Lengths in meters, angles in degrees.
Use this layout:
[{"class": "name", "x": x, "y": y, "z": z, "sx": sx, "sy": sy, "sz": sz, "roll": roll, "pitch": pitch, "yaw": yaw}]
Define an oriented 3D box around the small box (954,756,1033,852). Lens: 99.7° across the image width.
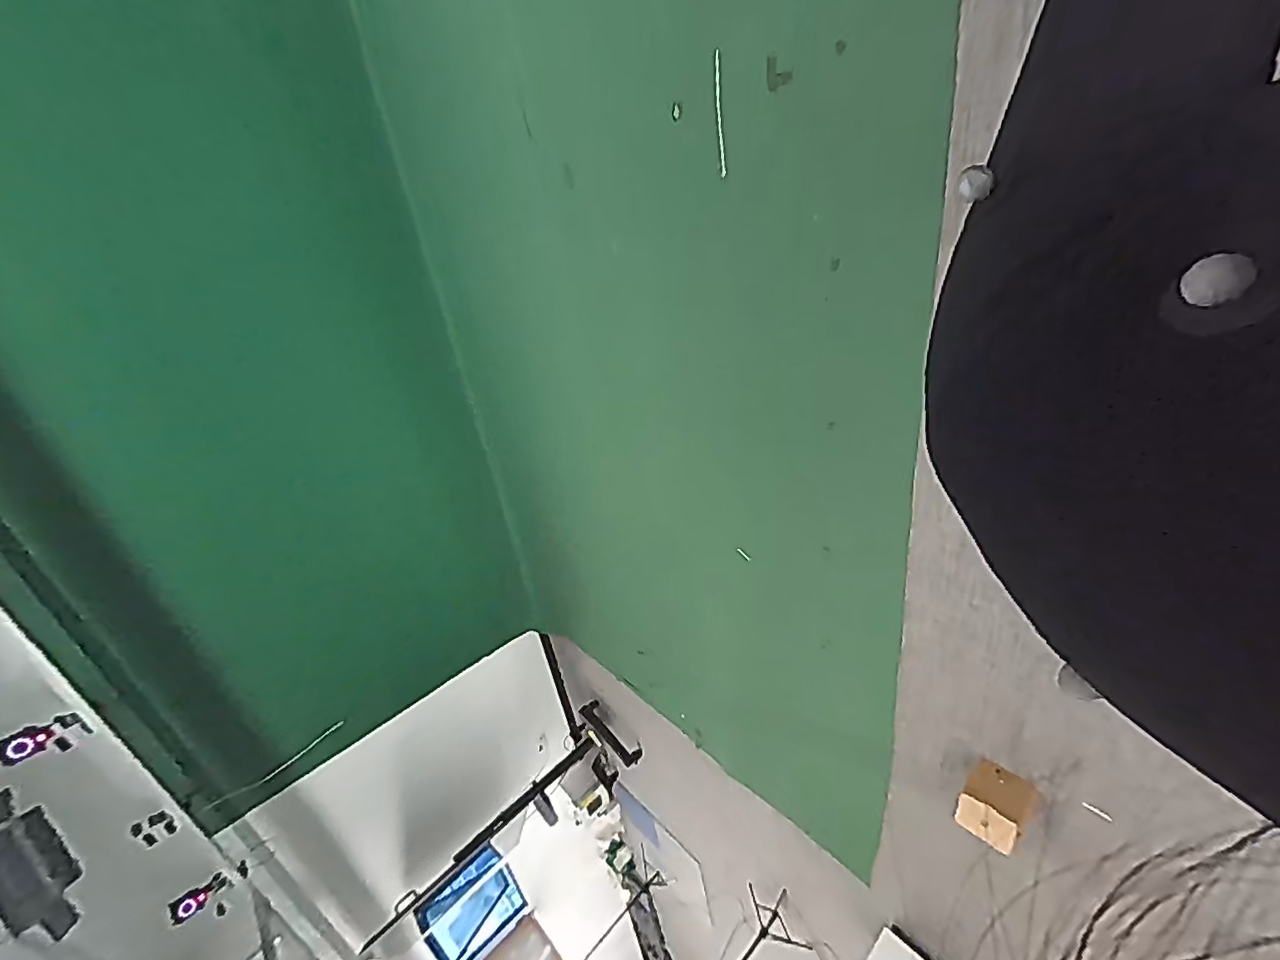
[{"class": "small box", "x": 1.182, "y": 1.077, "z": 1.809, "sx": 0.168, "sy": 0.176, "sz": 0.179, "roll": 22, "pitch": 130, "yaw": 44}]
